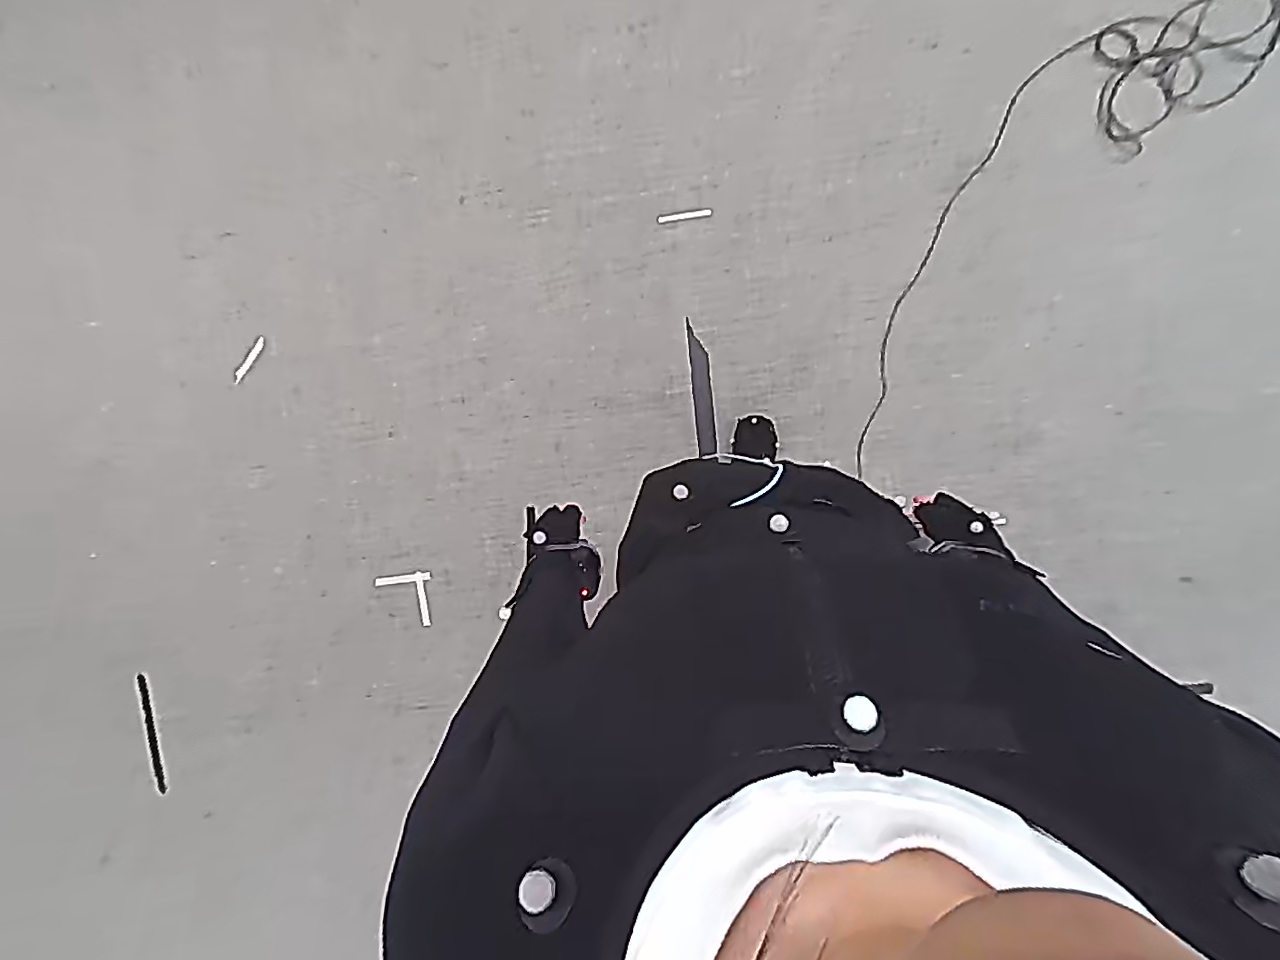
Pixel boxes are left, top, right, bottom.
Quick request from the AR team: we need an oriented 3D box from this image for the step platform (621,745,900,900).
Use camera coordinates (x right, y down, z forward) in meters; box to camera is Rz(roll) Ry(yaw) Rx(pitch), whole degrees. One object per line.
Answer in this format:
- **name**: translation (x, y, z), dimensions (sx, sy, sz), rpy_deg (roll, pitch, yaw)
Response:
- **step platform**: translation (0.294, 0.885, 1.395), dimensions (0.684, 0.204, 0.286), rpy_deg (-7, 92, 9)
